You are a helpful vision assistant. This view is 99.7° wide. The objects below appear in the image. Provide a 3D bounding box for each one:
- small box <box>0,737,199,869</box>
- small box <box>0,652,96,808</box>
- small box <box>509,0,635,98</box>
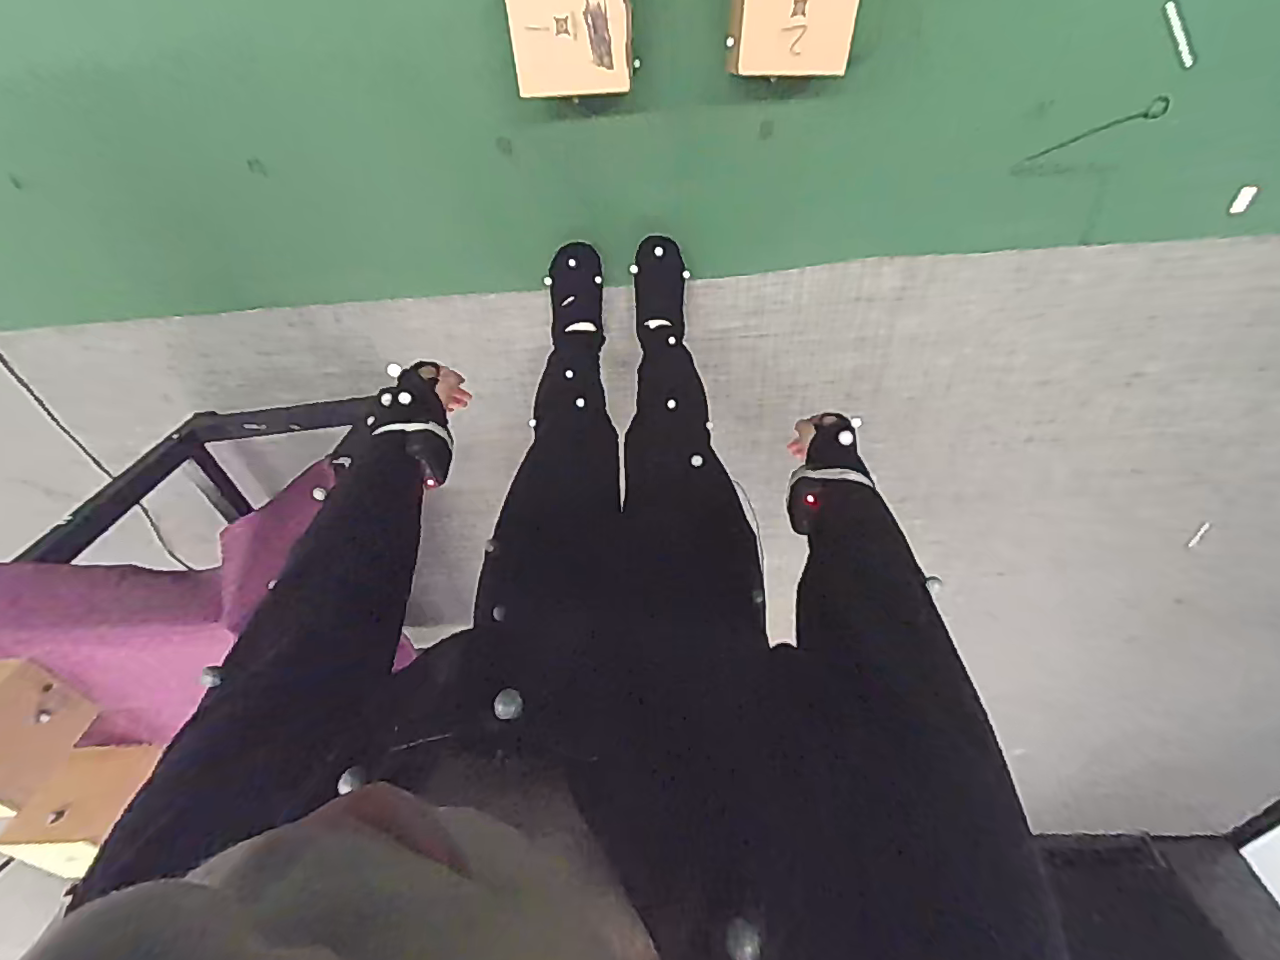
[{"bbox_3d":[-1.005,0.608,1.021,0.179,0.176,0.168,-6,129,5],"label":"small box"},{"bbox_3d":[-1.032,0.387,0.836,0.179,0.176,0.168,-5,130,2],"label":"small box"},{"bbox_3d":[-0.099,-0.718,0.861,0.179,0.176,0.168,-1,128,4],"label":"small box"}]
